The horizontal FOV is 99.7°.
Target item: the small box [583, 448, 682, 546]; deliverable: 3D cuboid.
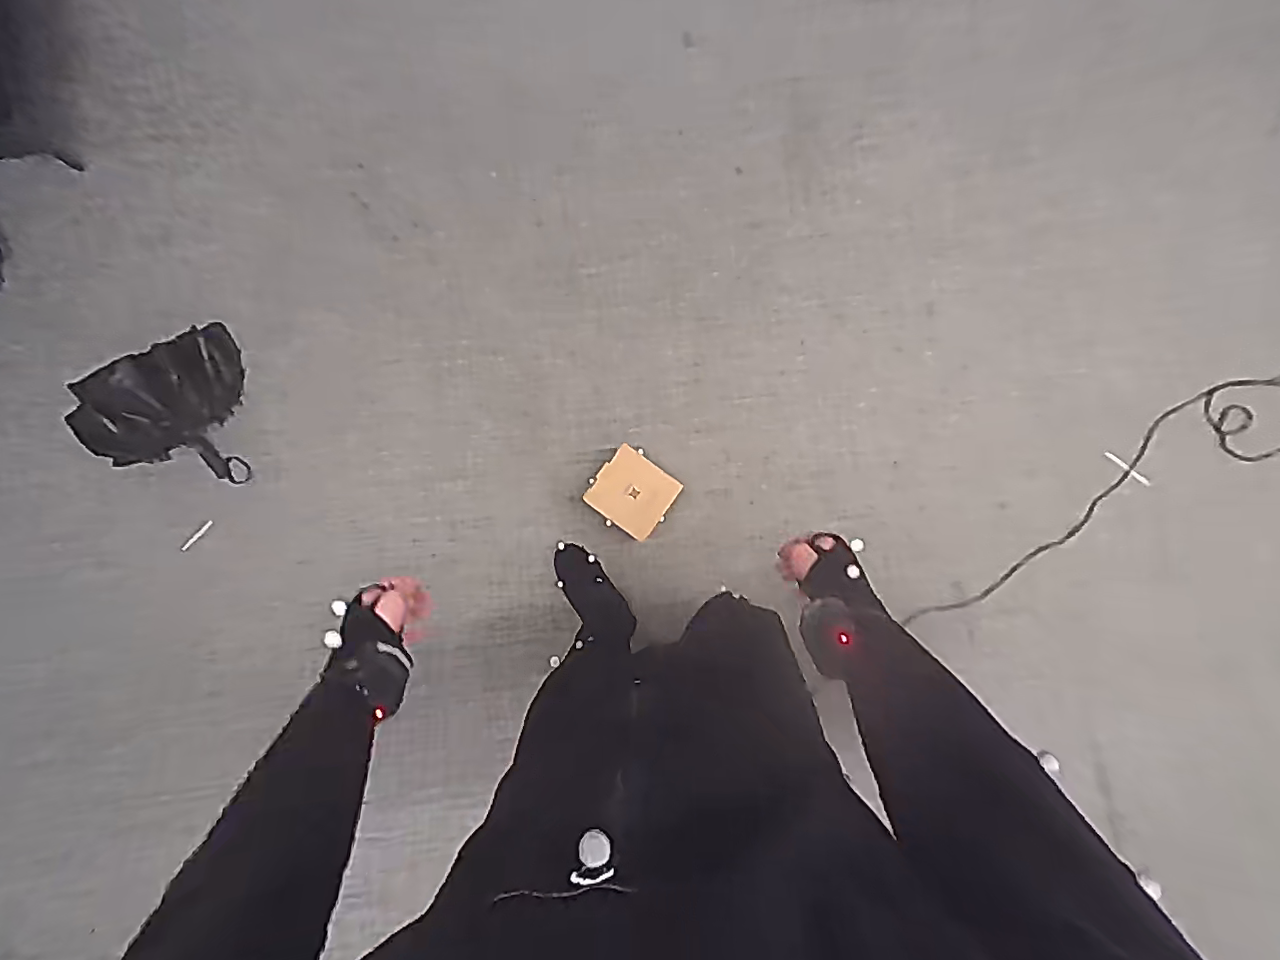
[{"bbox_3d":[-0.019,0.042,1.328,0.179,0.176,0.168,35,88,-1],"label":"small box"}]
